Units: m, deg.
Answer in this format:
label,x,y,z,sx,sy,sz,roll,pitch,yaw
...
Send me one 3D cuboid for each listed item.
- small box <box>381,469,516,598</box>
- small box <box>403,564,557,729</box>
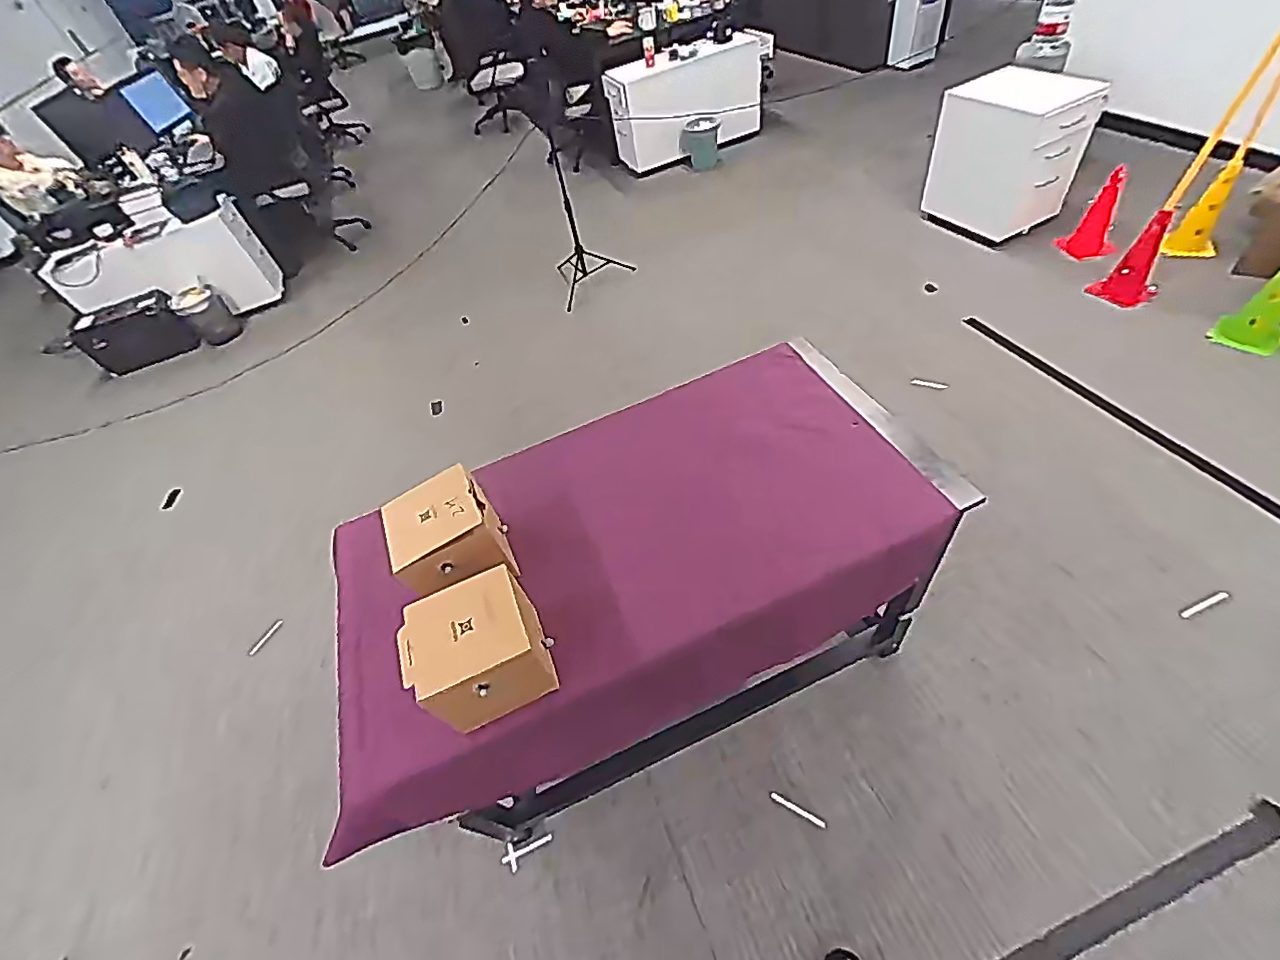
label,x,y,z,sx,sy,sz,roll,pitch,yaw
small box,-0.361,0.117,1.029,0.179,0.176,0.168,-25,51,-10
small box,-0.256,0.274,0.878,0.179,0.176,0.168,-23,50,-8
